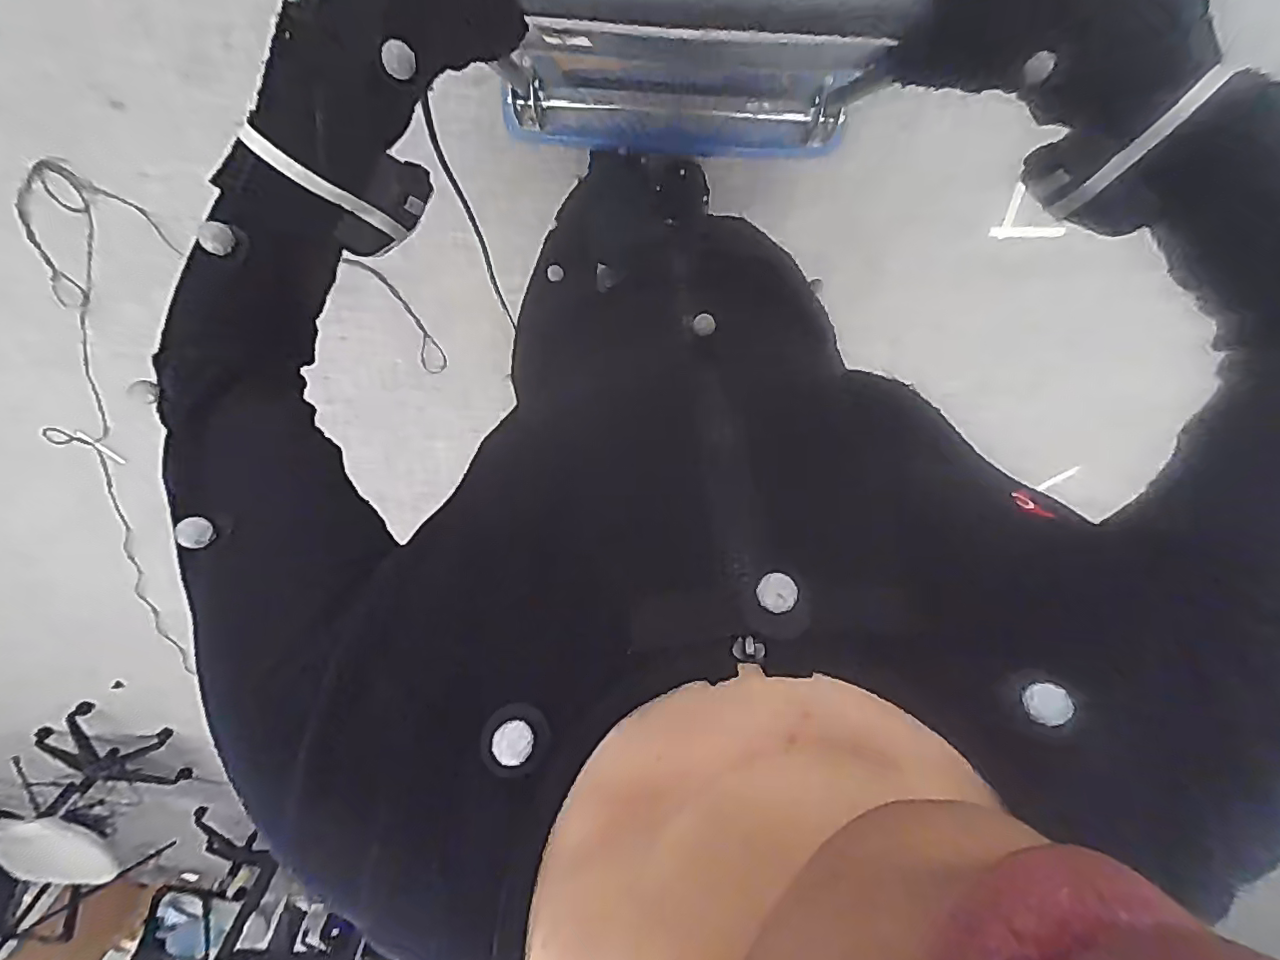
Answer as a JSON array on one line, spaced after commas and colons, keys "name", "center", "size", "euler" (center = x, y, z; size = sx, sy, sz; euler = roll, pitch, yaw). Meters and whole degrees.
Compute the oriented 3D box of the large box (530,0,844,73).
[{"name": "large box", "center": [0.054, -0.760, 0.691], "size": [0.408, 0.320, 0.320], "euler": [-3, 115, 0]}]
